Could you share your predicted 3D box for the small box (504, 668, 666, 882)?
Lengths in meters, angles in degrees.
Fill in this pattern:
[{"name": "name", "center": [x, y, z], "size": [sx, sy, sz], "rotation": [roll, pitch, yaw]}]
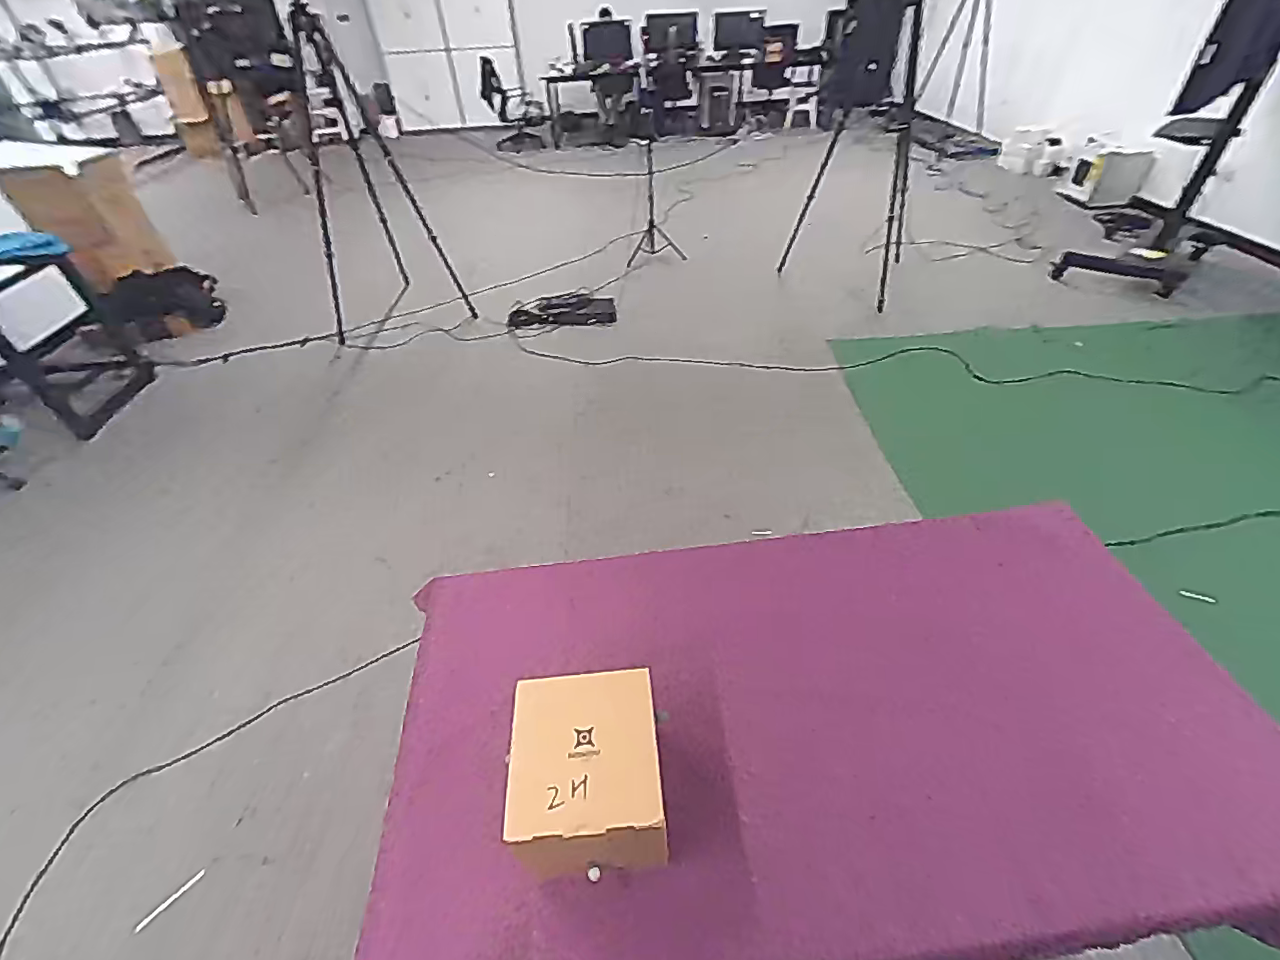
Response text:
[{"name": "small box", "center": [-0.059, 0.358, 0.660], "size": [0.168, 0.176, 0.179], "rotation": [-6, 42, -1]}]
